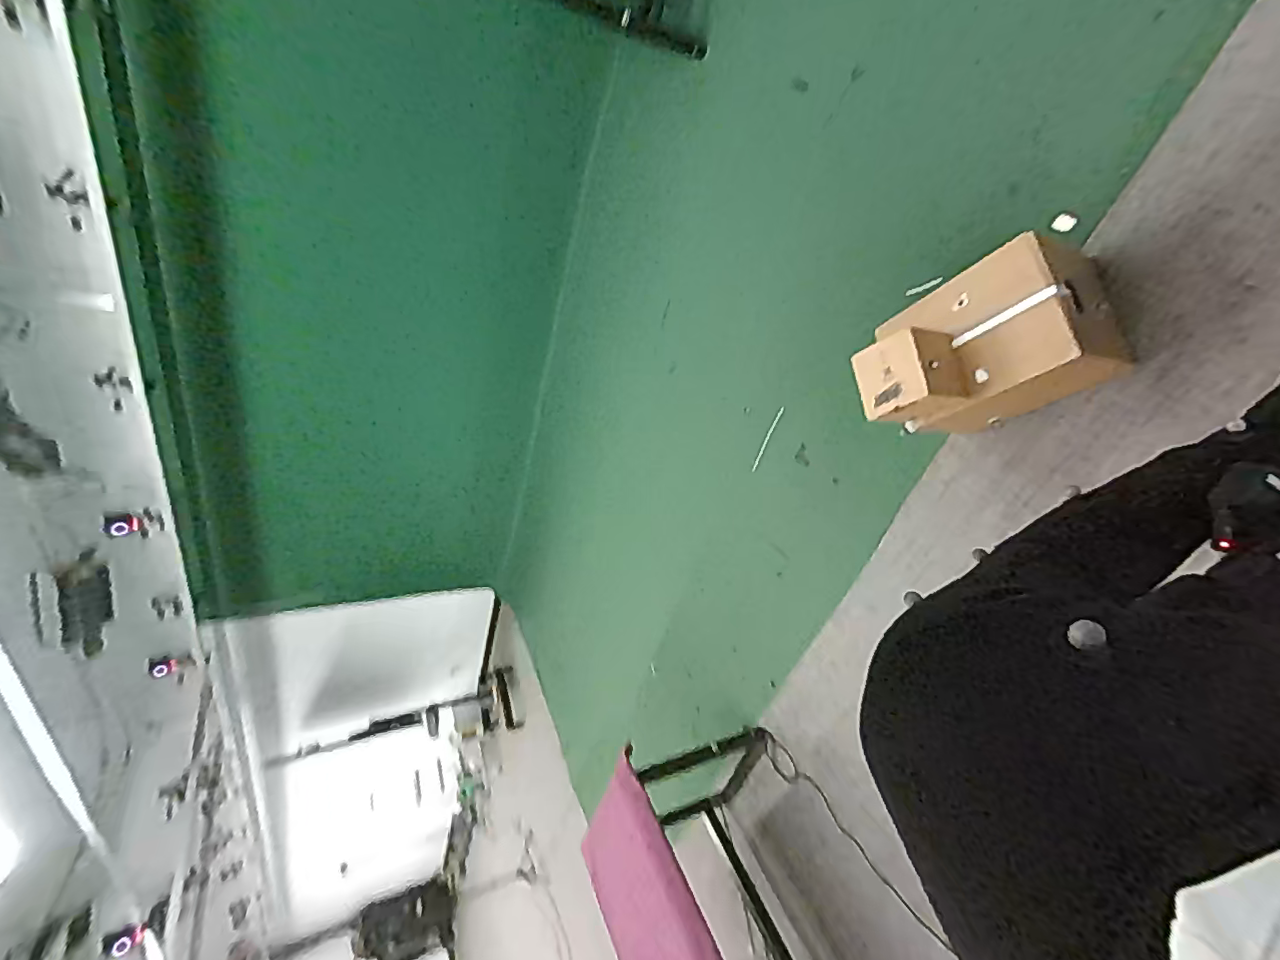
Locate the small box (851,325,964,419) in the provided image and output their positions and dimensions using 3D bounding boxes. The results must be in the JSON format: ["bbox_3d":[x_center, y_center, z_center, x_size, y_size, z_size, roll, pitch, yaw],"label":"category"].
[{"bbox_3d":[0.655,-0.258,1.322,0.168,0.176,0.179,-27,69,56],"label":"small box"}]
